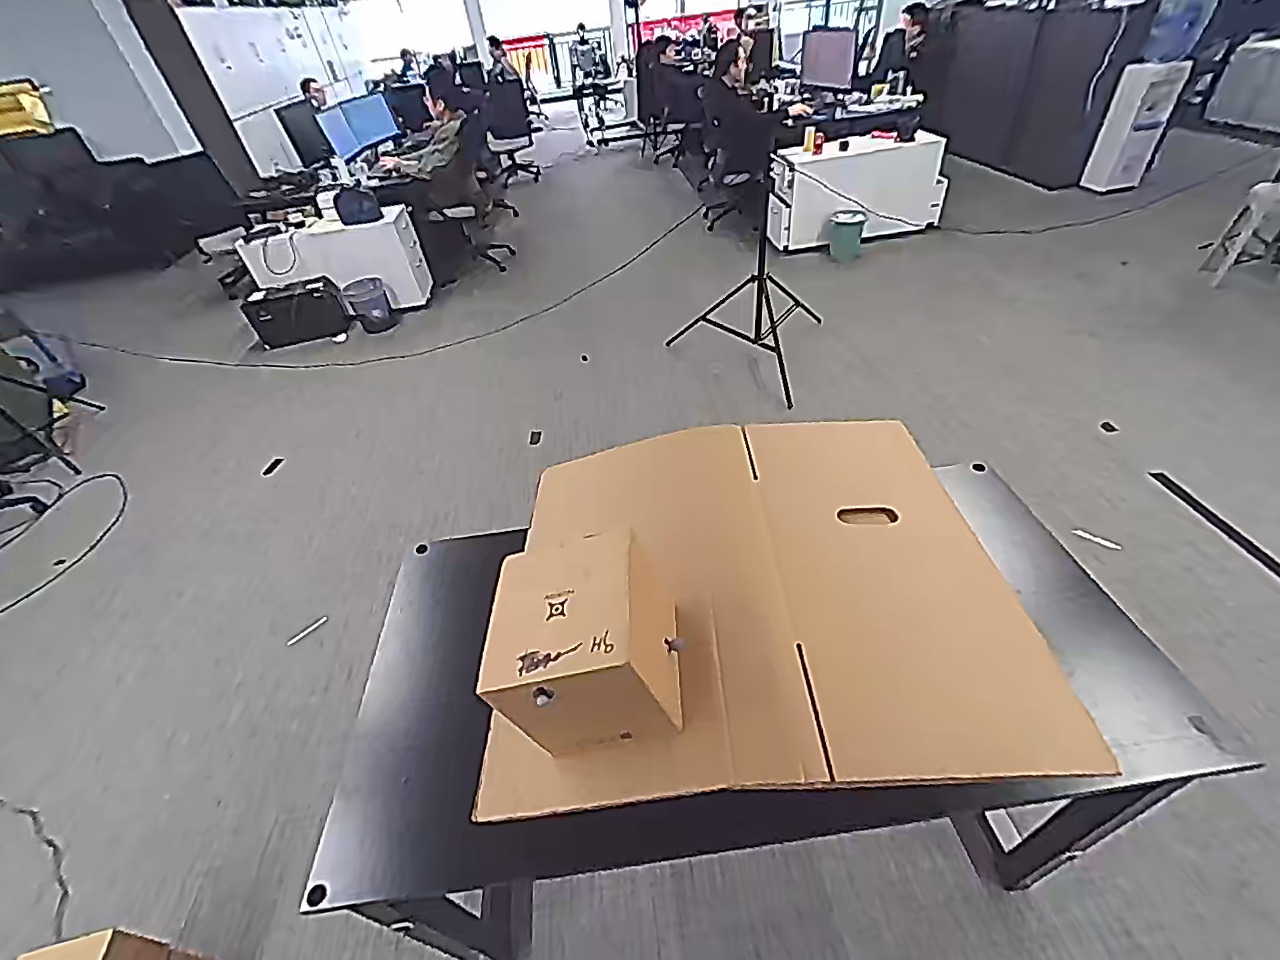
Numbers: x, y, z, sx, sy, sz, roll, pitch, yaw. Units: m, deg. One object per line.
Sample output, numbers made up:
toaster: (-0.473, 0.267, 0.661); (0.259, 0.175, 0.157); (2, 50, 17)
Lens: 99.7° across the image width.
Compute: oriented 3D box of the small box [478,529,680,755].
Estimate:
small box: (-0.057, 0.190, 0.629); (0.168, 0.176, 0.179); (-16, 40, 13)

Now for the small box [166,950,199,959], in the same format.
small box: (-1.014, 1.096, 1.095); (0.168, 0.176, 0.179); (-11, 42, -3)

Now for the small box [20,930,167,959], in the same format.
small box: (-1.033, 0.972, 0.992); (0.168, 0.176, 0.179); (-12, 41, -6)
